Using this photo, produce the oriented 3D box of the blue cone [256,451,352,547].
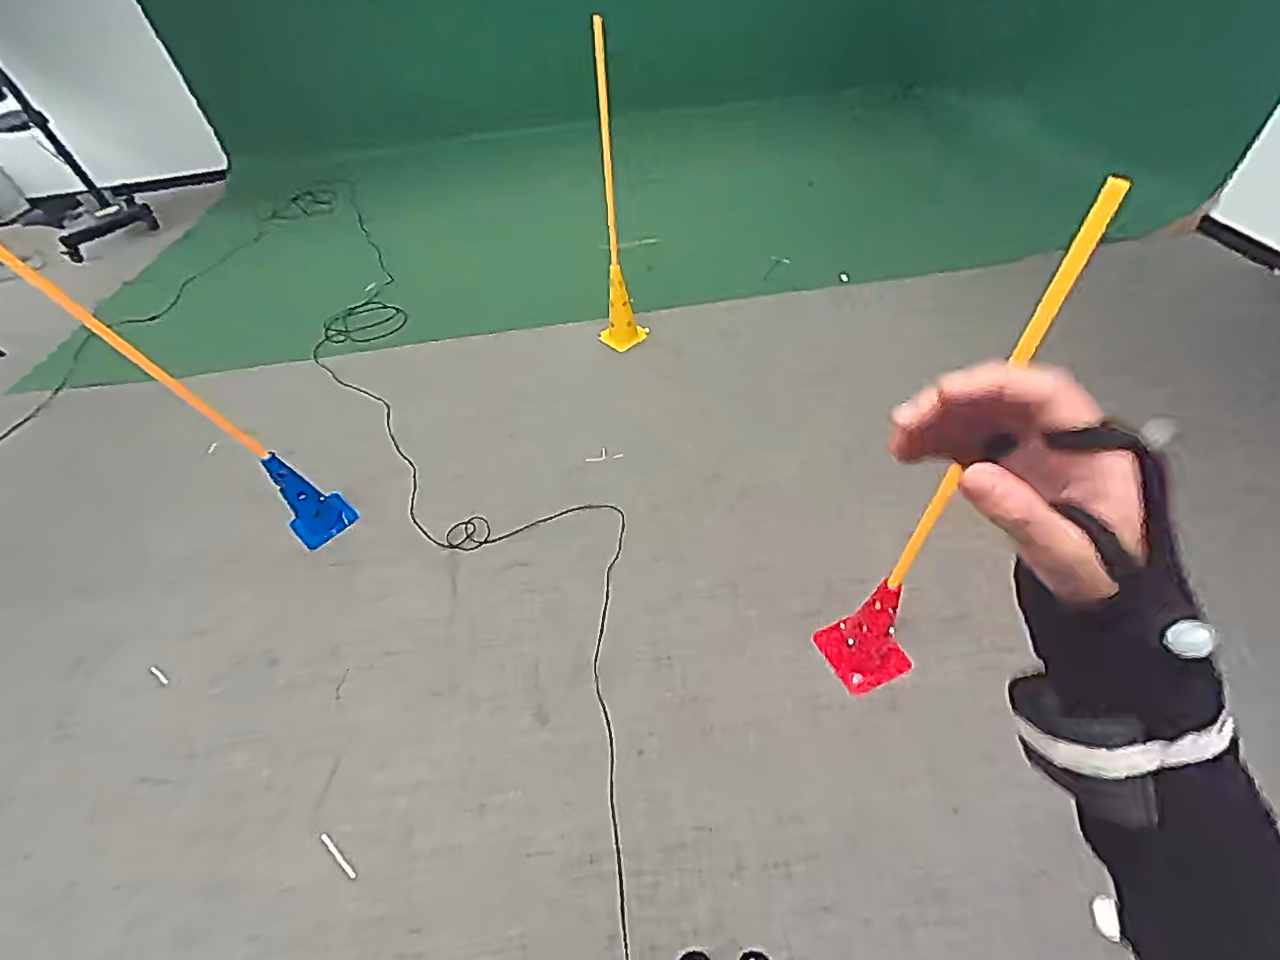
[{"bbox_3d":[-1.192,0.044,1.868,0.192,0.380,0.193,30,60,28],"label":"blue cone"}]
